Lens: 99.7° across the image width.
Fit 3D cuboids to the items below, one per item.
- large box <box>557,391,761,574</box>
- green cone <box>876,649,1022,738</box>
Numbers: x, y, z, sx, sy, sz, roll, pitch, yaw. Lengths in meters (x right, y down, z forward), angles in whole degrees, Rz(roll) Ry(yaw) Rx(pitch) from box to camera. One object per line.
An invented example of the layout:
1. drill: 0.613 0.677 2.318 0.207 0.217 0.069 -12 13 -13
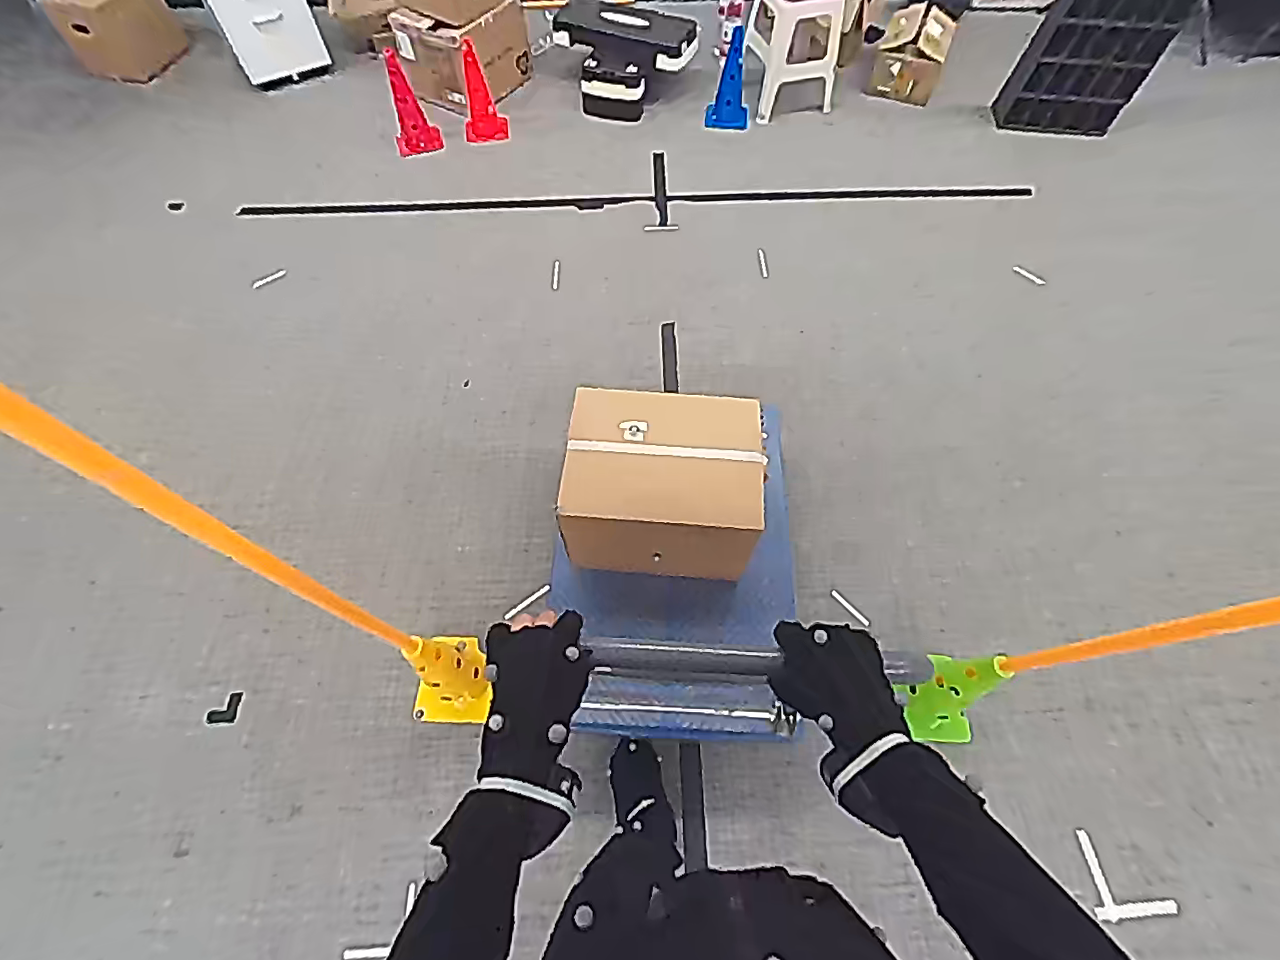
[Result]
1. large box: 0.049 0.018 1.247 0.408 0.320 0.320 4 61 3
2. green cone: 0.693 0.438 1.176 0.202 0.368 0.200 3 61 0
